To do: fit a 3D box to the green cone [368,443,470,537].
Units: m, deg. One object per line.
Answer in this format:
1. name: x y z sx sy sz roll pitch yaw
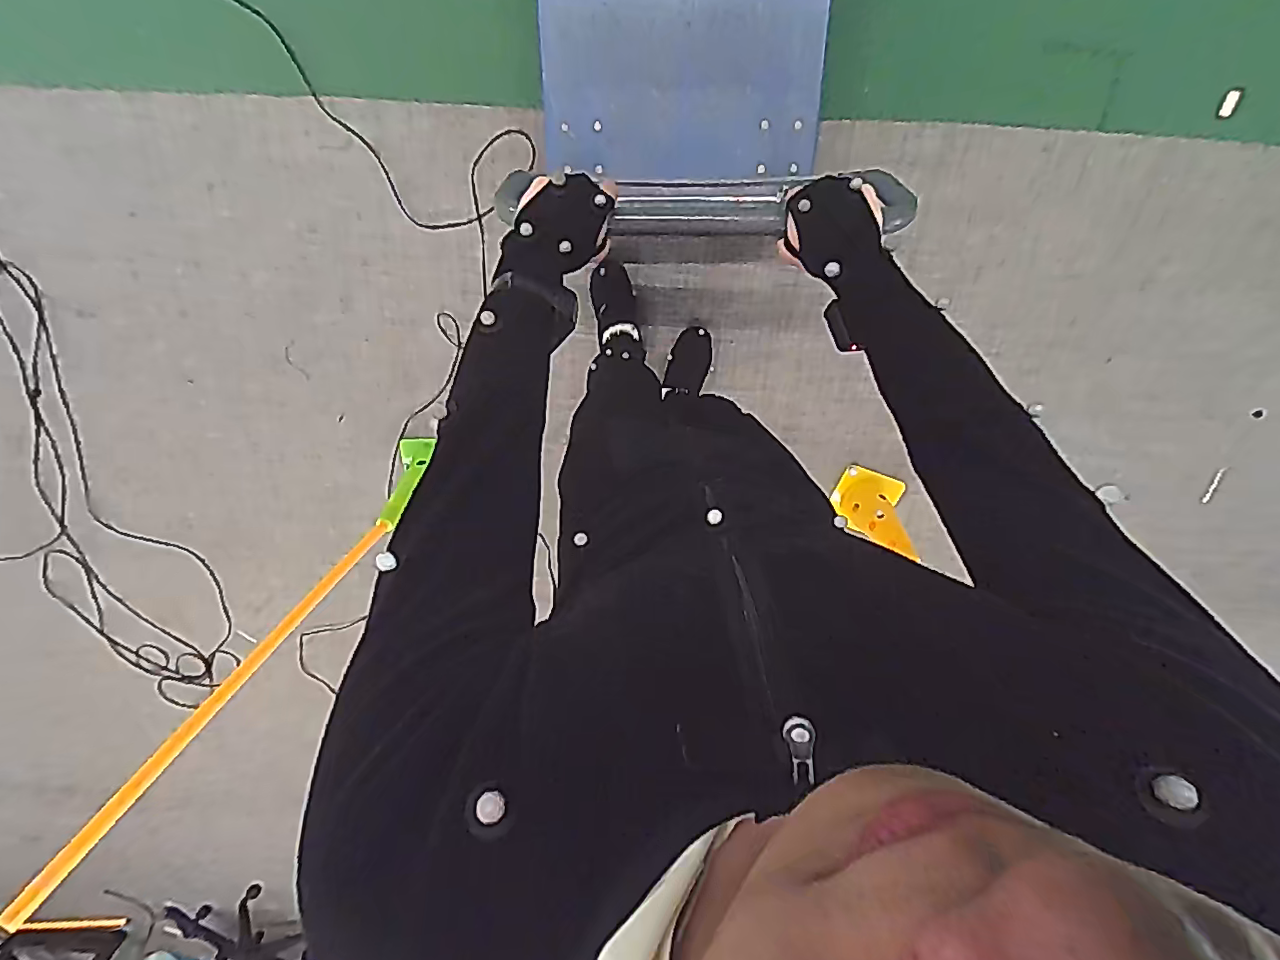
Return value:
1. green cone: -0.643 0.049 1.509 0.202 0.368 0.200 0 114 4
